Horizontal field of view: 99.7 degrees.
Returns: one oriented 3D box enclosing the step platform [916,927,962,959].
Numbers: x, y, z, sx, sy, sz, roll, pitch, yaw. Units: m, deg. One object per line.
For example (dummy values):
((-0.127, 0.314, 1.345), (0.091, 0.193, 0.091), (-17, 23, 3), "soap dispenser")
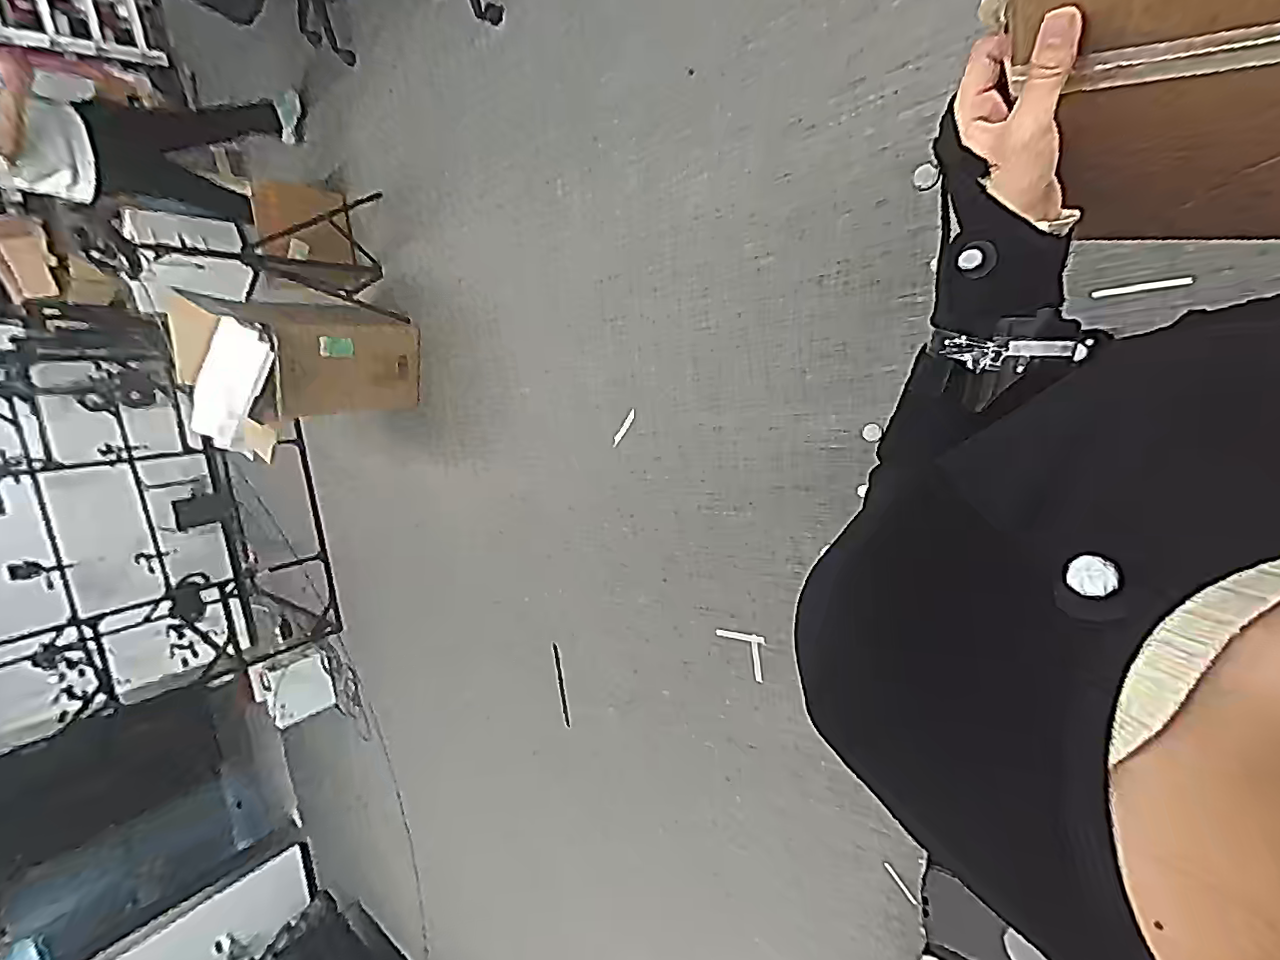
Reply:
((0.983, 1.399, 1.231), (0.684, 0.204, 0.286), (9, 107, 40), "step platform")
